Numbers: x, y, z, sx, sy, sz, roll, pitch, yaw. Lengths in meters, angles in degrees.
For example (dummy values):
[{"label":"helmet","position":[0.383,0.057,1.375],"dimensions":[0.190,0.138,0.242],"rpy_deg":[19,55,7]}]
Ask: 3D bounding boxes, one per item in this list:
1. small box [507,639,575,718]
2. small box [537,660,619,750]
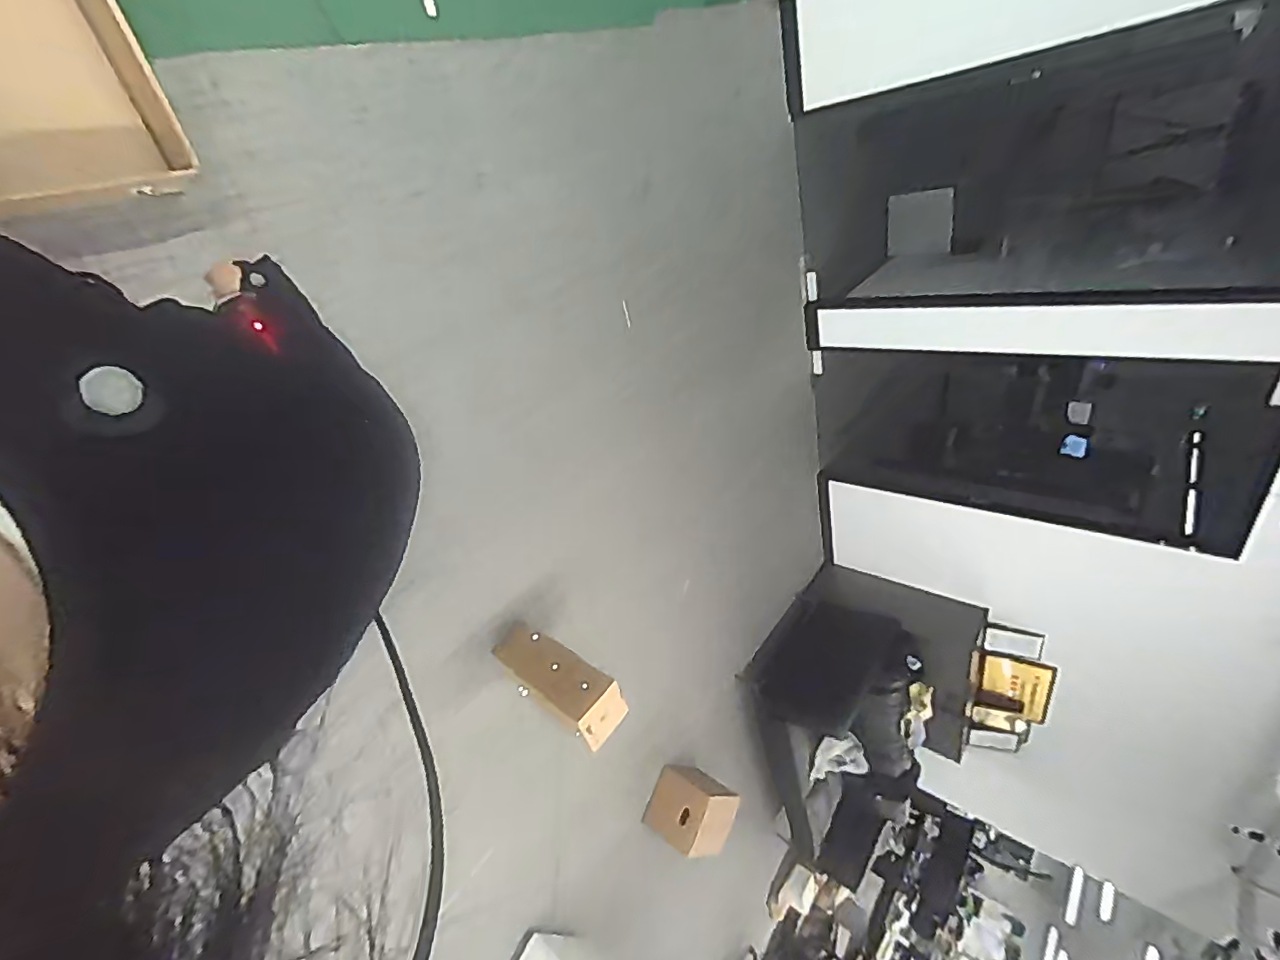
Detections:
[{"label":"small box","position":[-0.320,0.678,1.851],"dimensions":[0.179,0.176,0.168],"rpy_deg":[-41,129,-33]},{"label":"small box","position":[-0.199,0.719,1.747],"dimensions":[0.179,0.176,0.168],"rpy_deg":[-42,130,-34]}]
